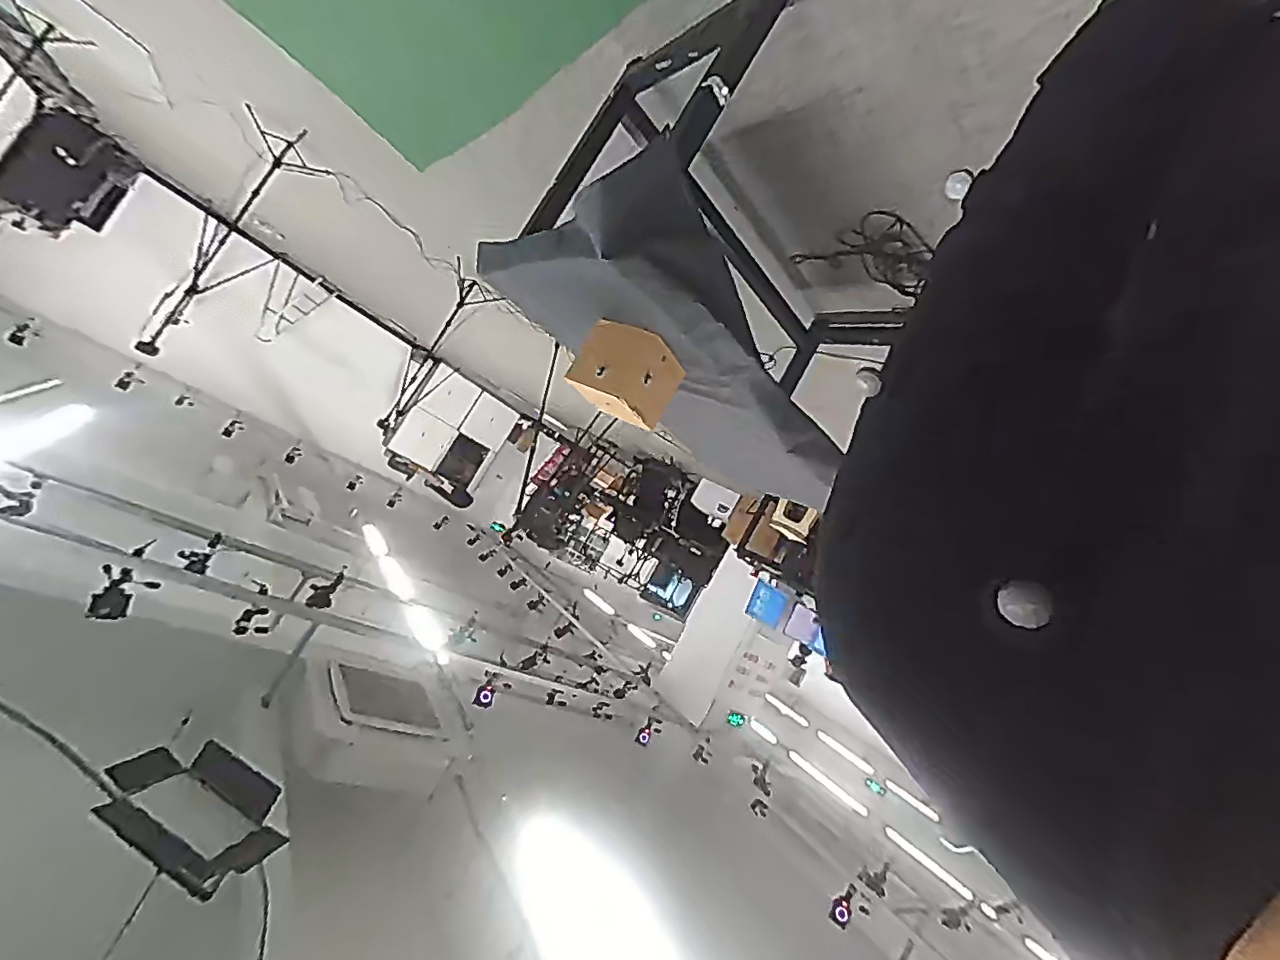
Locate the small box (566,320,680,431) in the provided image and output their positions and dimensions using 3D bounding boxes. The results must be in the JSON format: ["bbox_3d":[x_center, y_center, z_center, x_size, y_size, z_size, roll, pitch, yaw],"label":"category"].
[{"bbox_3d":[-0.030,-0.242,1.238,0.179,0.176,0.168,28,172,34],"label":"small box"}]
